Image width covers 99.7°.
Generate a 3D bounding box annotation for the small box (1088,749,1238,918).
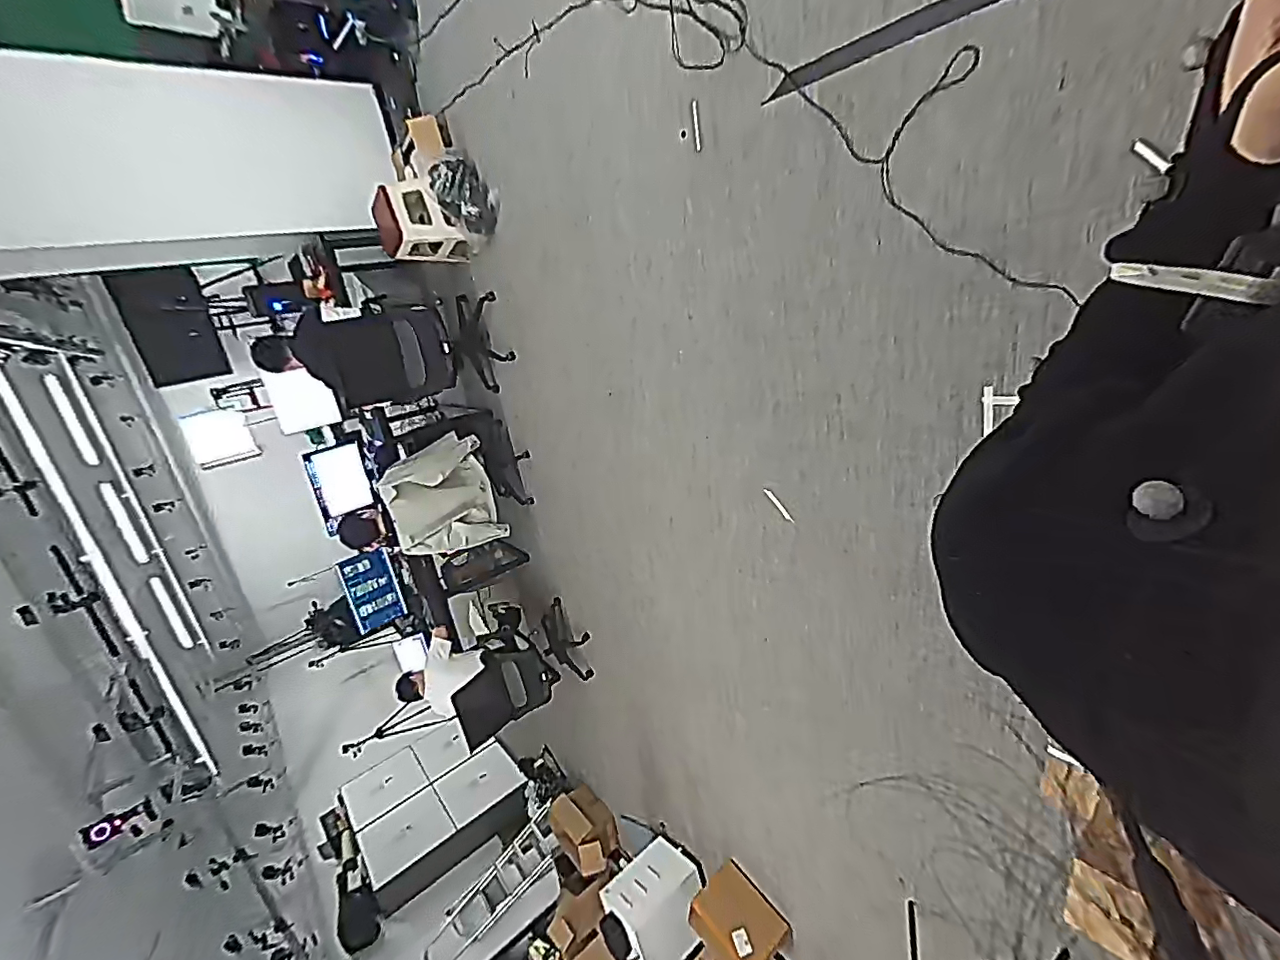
[{"bbox_3d":[0.998,0.659,1.034,0.179,0.176,0.168,13,118,51],"label":"small box"}]
